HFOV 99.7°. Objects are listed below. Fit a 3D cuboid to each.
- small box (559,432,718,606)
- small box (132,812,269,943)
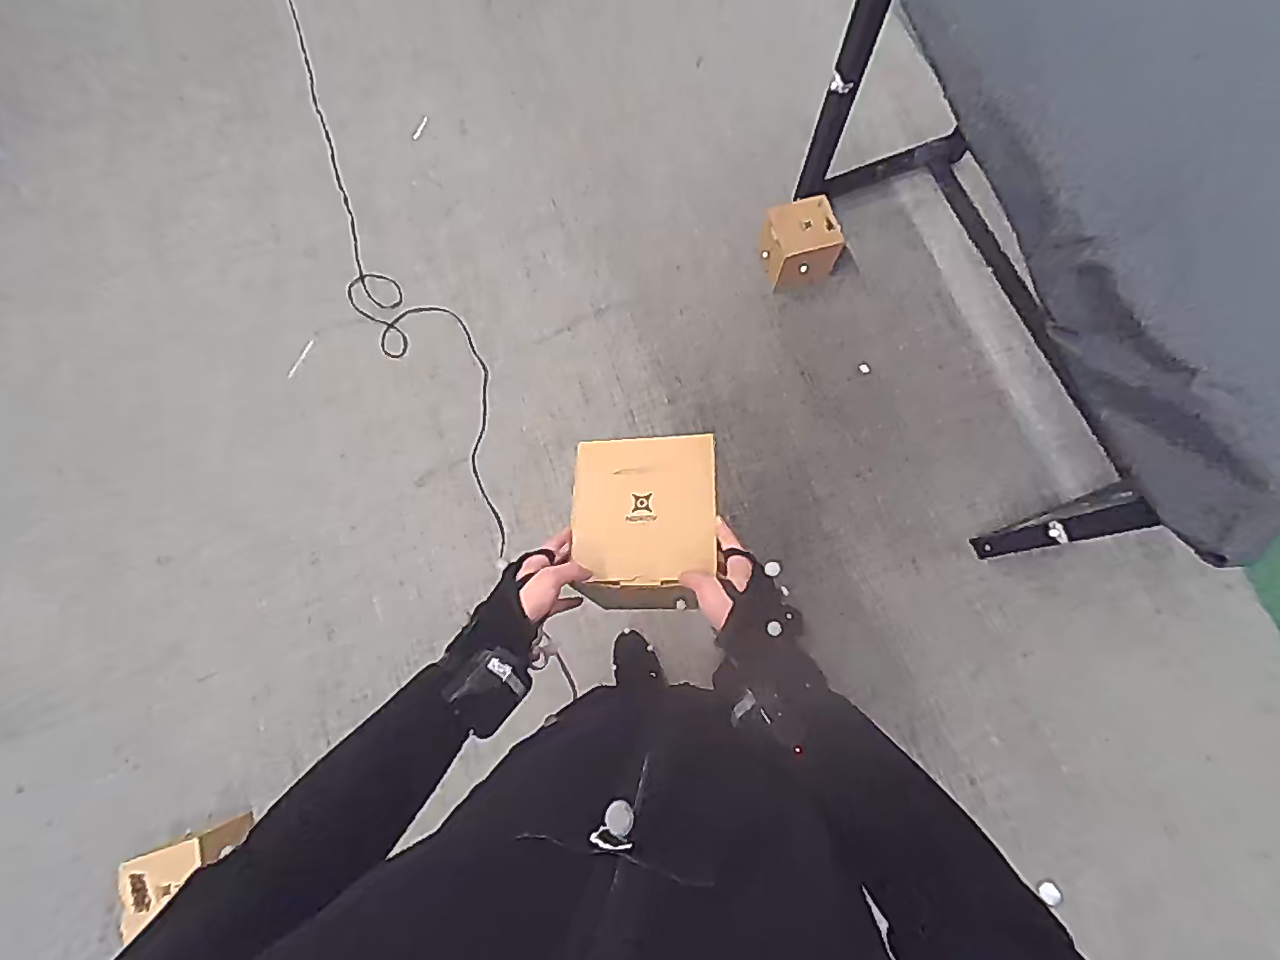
[{"bbox_3d":[0.008,0.060,0.679,0.168,0.176,0.179,-4,65,10],"label":"small box"},{"bbox_3d":[-1.002,0.901,1.242,0.179,0.176,0.168,-18,76,-2],"label":"small box"}]
